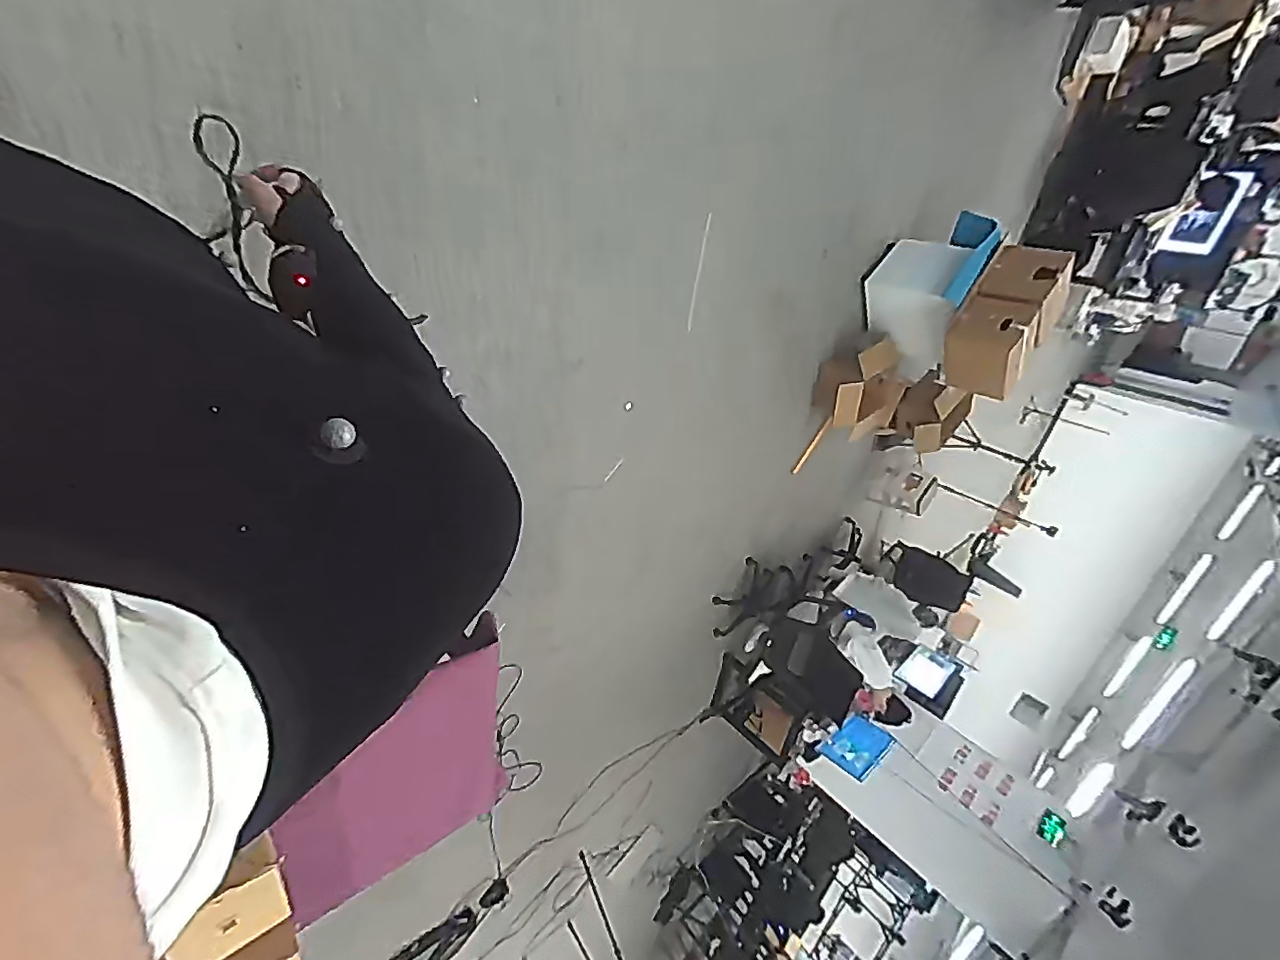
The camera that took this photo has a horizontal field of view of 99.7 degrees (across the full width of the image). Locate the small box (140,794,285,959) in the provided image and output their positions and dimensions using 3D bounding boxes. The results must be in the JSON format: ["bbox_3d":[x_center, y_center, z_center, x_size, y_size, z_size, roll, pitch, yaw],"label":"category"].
[{"bbox_3d":[-0.769,0.719,0.978,0.168,0.176,0.179,-17,127,-40],"label":"small box"}]
